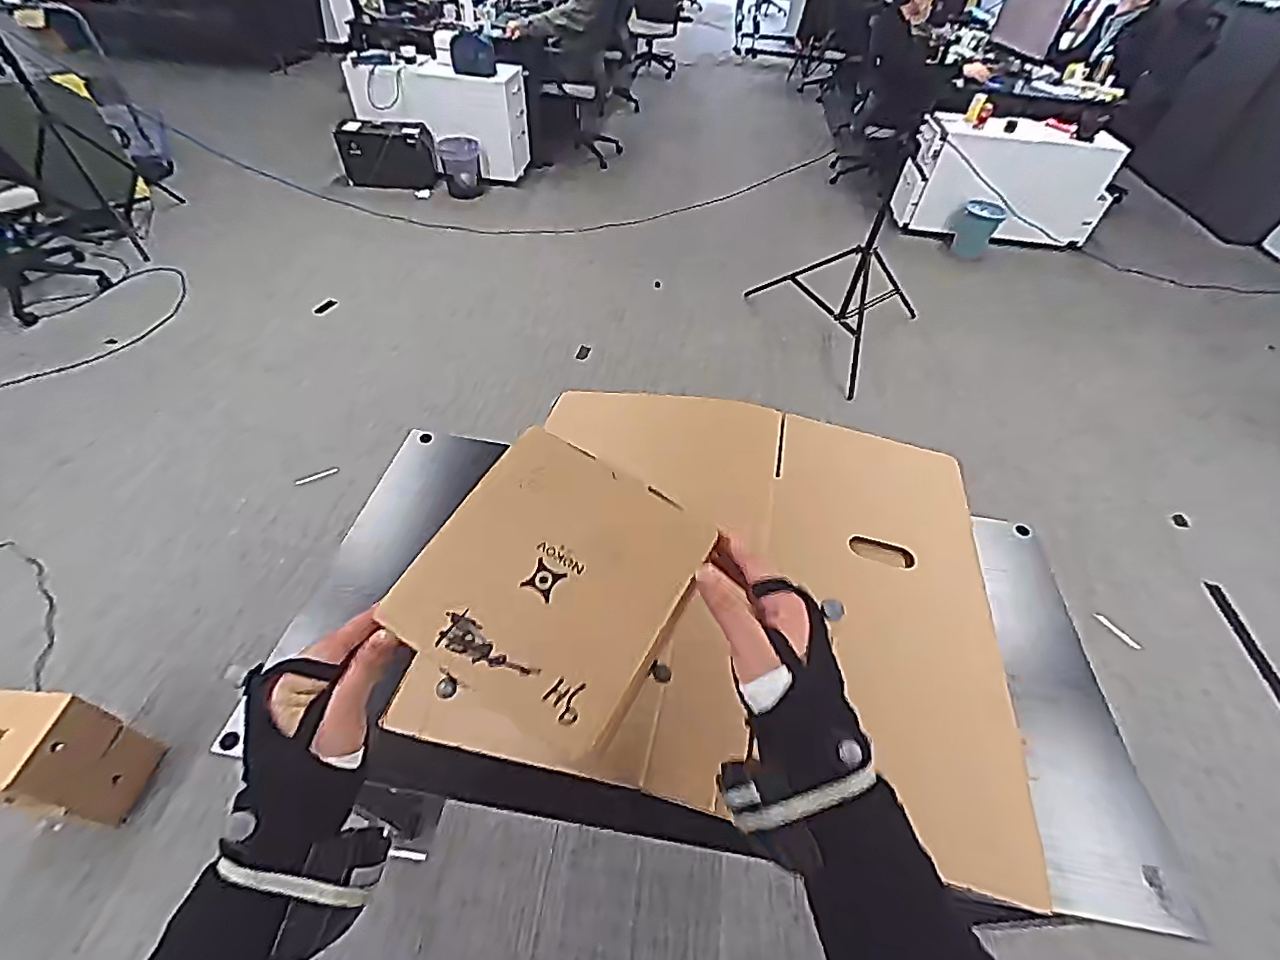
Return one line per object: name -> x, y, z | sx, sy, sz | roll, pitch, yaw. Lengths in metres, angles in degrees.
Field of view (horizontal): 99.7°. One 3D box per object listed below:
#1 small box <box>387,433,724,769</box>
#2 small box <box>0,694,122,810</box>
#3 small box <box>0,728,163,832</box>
small box -> -0.056, 0.102, 0.436 | 0.168, 0.176, 0.179 | 30, 65, 14
small box -> -1.229, 0.556, 1.099 | 0.168, 0.176, 0.179 | 4, 47, -3
small box -> -1.237, 0.669, 1.216 | 0.168, 0.176, 0.179 | 5, 49, 0
